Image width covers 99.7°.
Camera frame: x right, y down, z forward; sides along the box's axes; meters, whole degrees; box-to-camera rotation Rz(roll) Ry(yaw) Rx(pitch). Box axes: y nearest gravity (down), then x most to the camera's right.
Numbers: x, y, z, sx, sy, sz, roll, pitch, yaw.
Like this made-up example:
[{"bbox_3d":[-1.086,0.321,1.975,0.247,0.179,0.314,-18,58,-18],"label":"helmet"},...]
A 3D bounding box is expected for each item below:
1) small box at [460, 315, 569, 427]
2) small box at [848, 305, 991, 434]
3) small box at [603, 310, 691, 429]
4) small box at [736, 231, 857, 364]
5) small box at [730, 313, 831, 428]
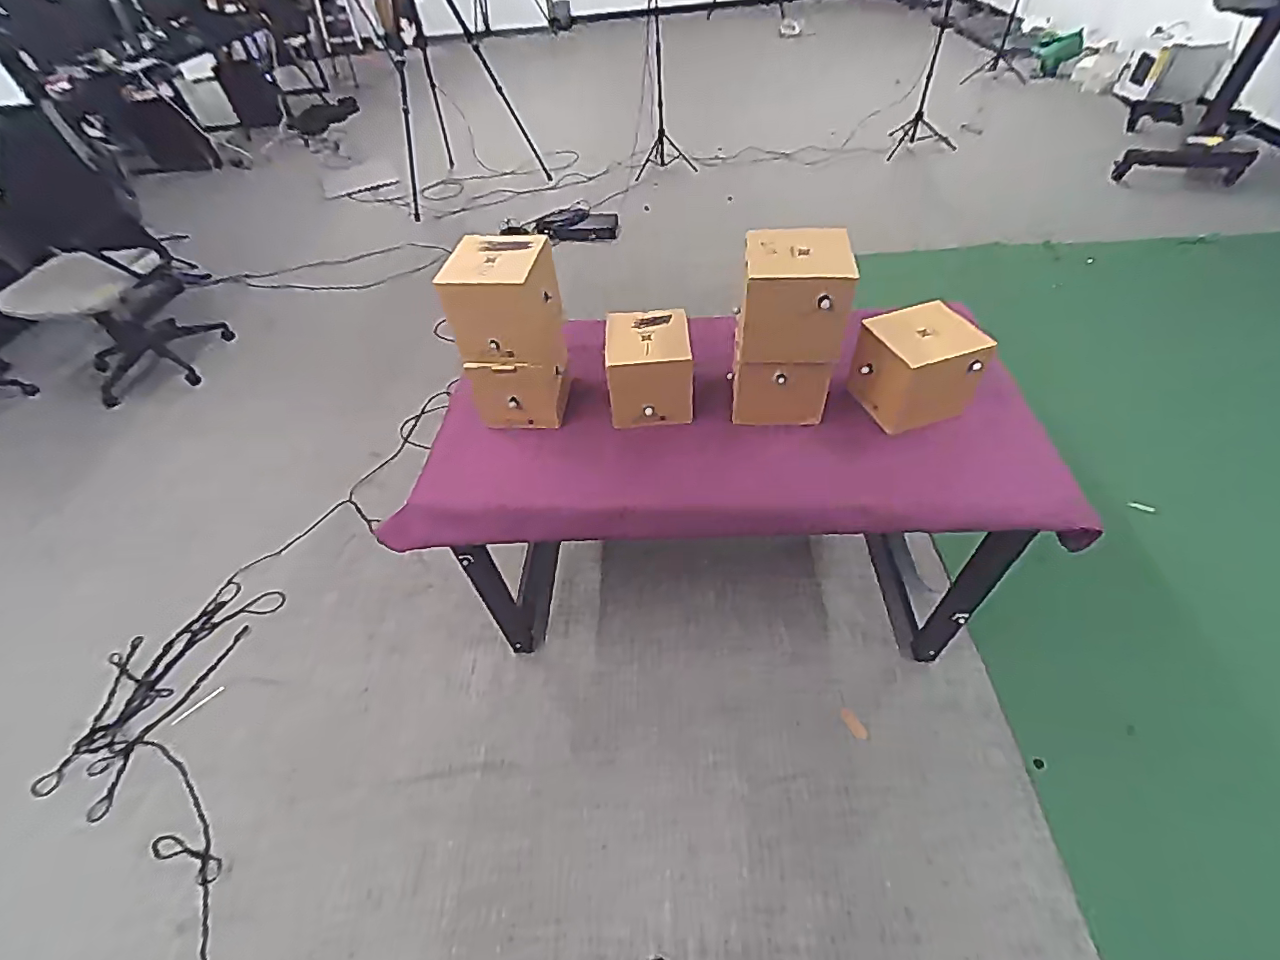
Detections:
[{"bbox_3d":[-0.252,-0.226,1.139,0.168,0.176,0.179,1,50,5],"label":"small box"},{"bbox_3d":[0.530,-0.213,1.062,0.179,0.176,0.168,-16,49,-9],"label":"small box"},{"bbox_3d":[0.016,-0.227,1.117,0.168,0.176,0.179,-4,49,2],"label":"small box"},{"bbox_3d":[0.267,-0.321,0.962,0.179,0.176,0.168,3,49,7],"label":"small box"},{"bbox_3d":[0.274,-0.220,1.091,0.179,0.176,0.168,3,50,7],"label":"small box"}]
